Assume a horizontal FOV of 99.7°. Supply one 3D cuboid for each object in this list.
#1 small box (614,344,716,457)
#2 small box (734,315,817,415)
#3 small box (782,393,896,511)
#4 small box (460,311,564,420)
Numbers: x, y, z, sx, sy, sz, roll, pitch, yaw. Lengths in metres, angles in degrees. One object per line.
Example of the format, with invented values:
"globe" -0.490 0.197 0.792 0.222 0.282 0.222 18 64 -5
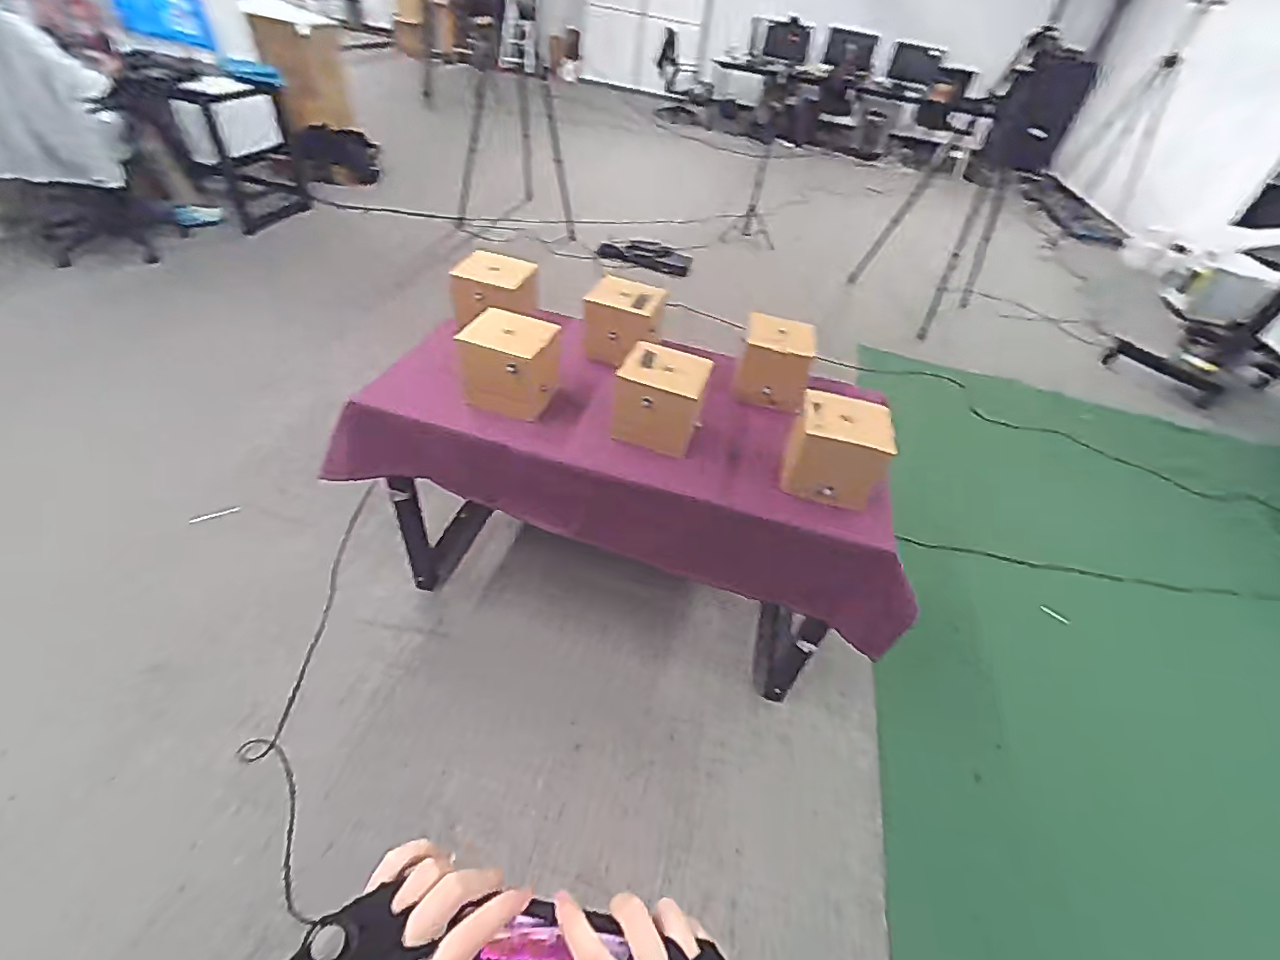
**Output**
"small box" 0.052 -0.175 1.214 0.179 0.176 0.168 19 44 8
"small box" 0.347 -0.296 1.392 0.168 0.176 0.179 14 44 5
"small box" 0.419 -0.056 1.154 0.179 0.176 0.168 15 43 6
"small box" -0.289 -0.261 1.243 0.179 0.176 0.168 18 43 7
